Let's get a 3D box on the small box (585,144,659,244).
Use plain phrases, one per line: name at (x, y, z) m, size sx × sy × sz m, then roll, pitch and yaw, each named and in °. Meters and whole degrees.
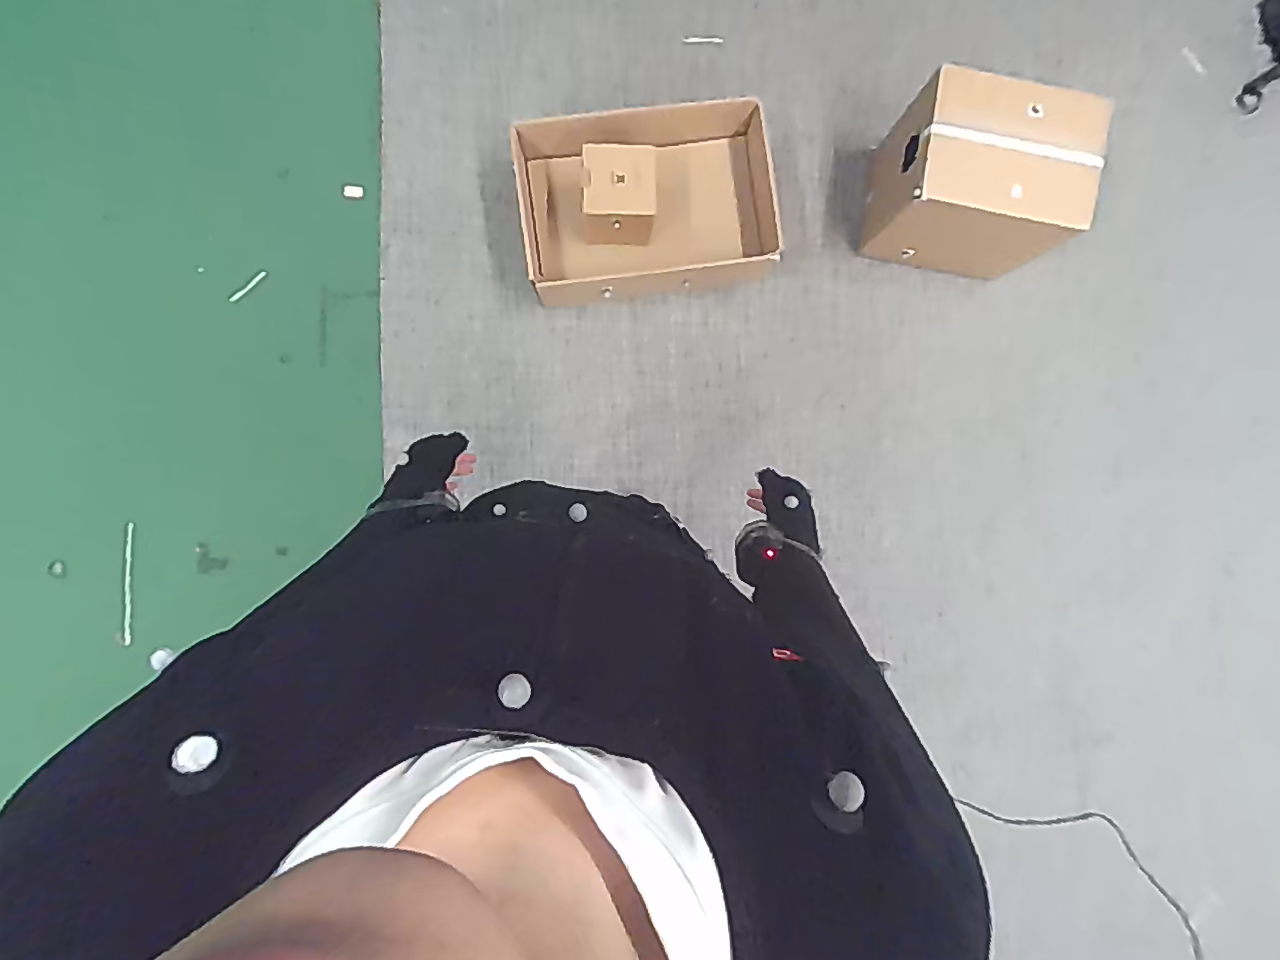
small box at (-0.047, -0.707, 1.355) m, size 0.179 × 0.176 × 0.168 m, roll -1°, pitch 90°, yaw -5°
